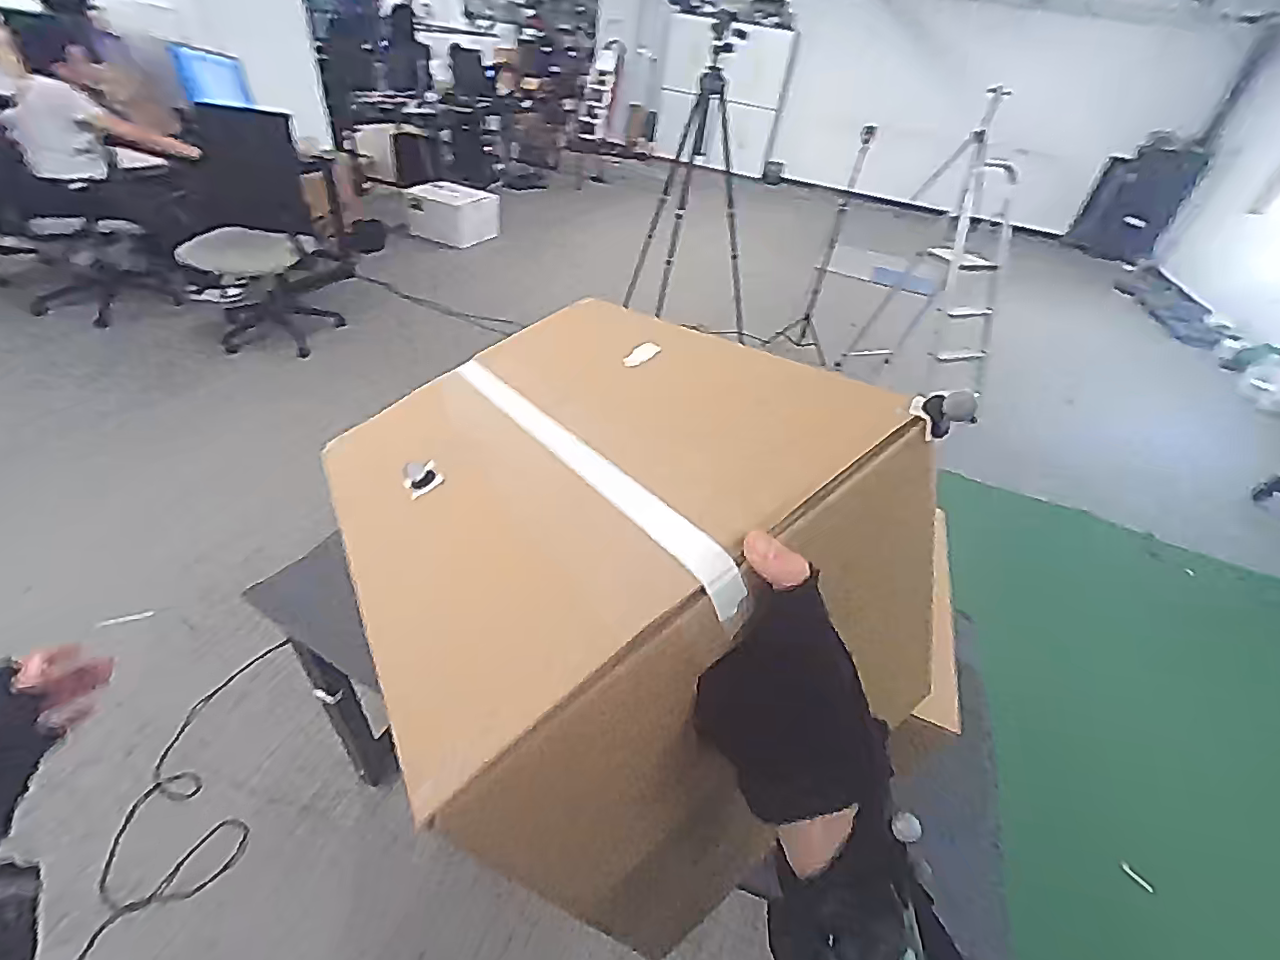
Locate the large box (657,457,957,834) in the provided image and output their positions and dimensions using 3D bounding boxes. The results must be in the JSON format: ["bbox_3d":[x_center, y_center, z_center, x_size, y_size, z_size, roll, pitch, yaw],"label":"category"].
[{"bbox_3d":[0.245,0.228,0.837,0.320,0.320,0.408,19,39,13],"label":"large box"}]
